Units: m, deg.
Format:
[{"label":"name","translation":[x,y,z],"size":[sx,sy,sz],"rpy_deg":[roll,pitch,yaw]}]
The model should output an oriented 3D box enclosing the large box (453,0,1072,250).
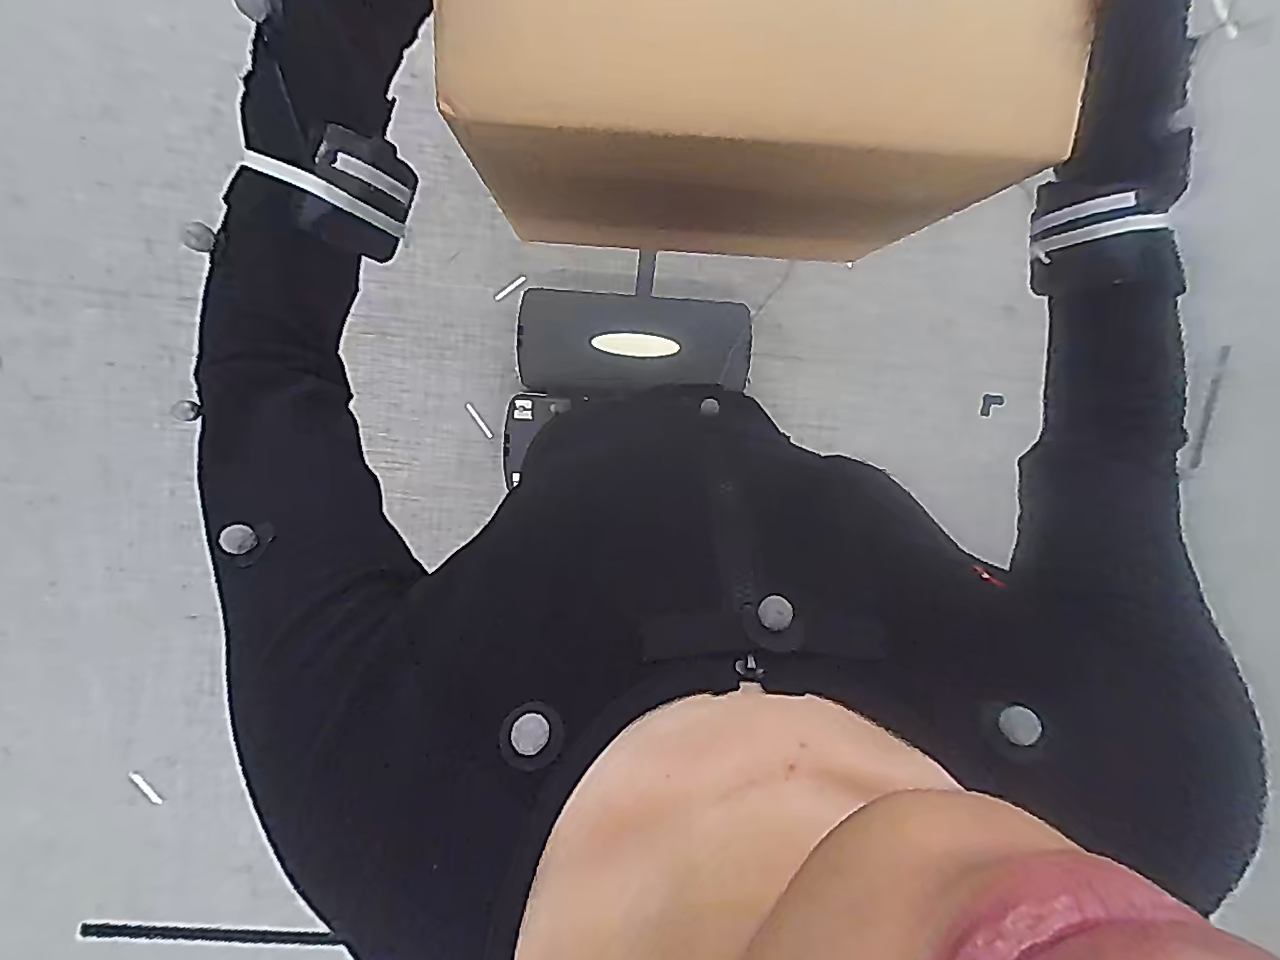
[{"label":"large box","translation":[0.072,-0.402,0.472],"size":[0.408,0.320,0.320],"rpy_deg":[1,101,-5]}]
